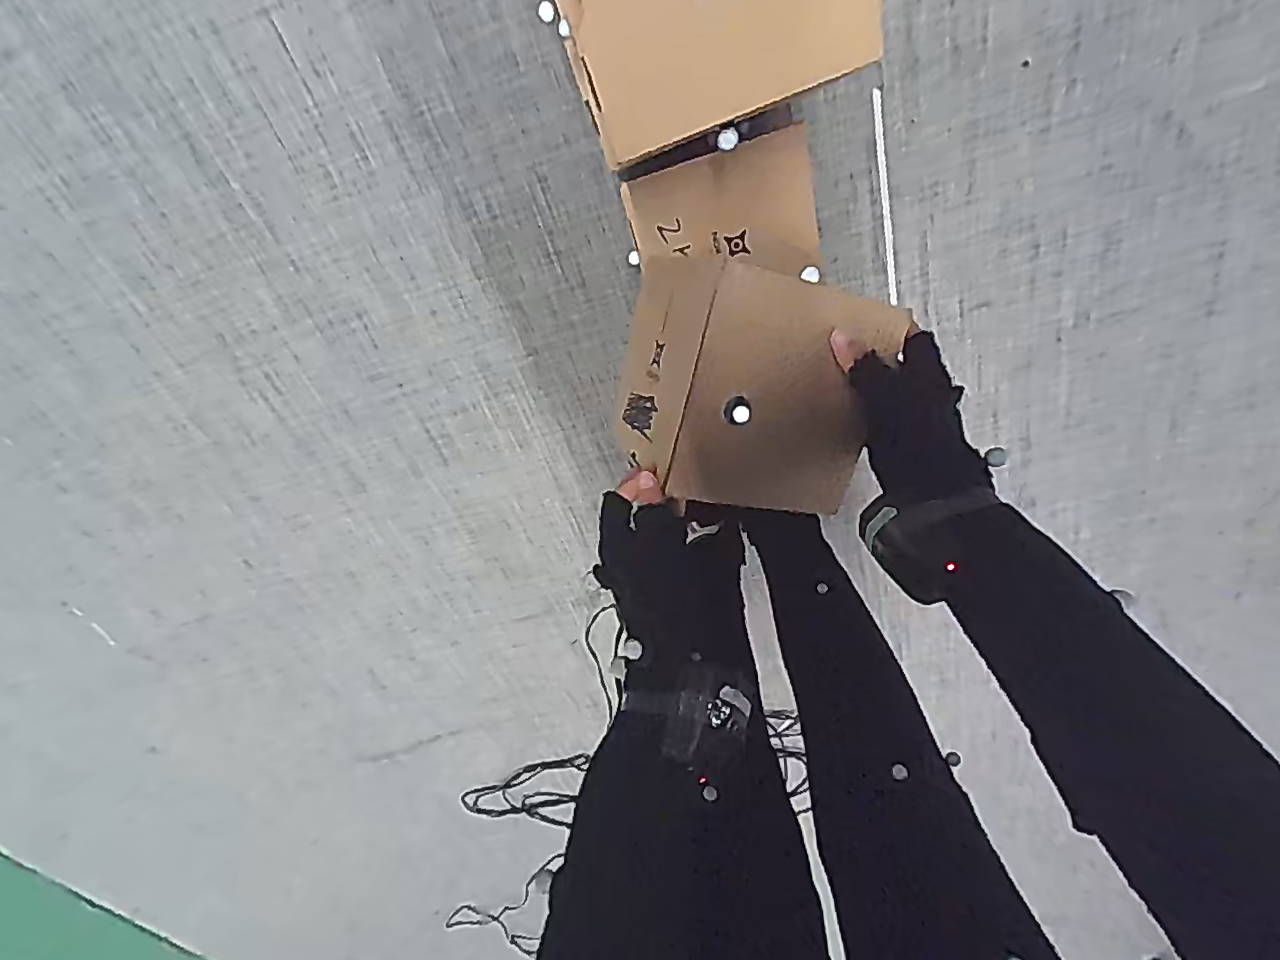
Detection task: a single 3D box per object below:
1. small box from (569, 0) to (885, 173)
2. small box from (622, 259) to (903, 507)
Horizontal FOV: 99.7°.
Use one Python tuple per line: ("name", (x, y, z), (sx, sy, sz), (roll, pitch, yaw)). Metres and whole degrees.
("small box", (0.044, -0.335, 0.375), (0.179, 0.176, 0.168), (-16, 119, 10))
("small box", (0.096, -0.087, 0.482), (0.176, 0.168, 0.179), (7, 109, -18))
